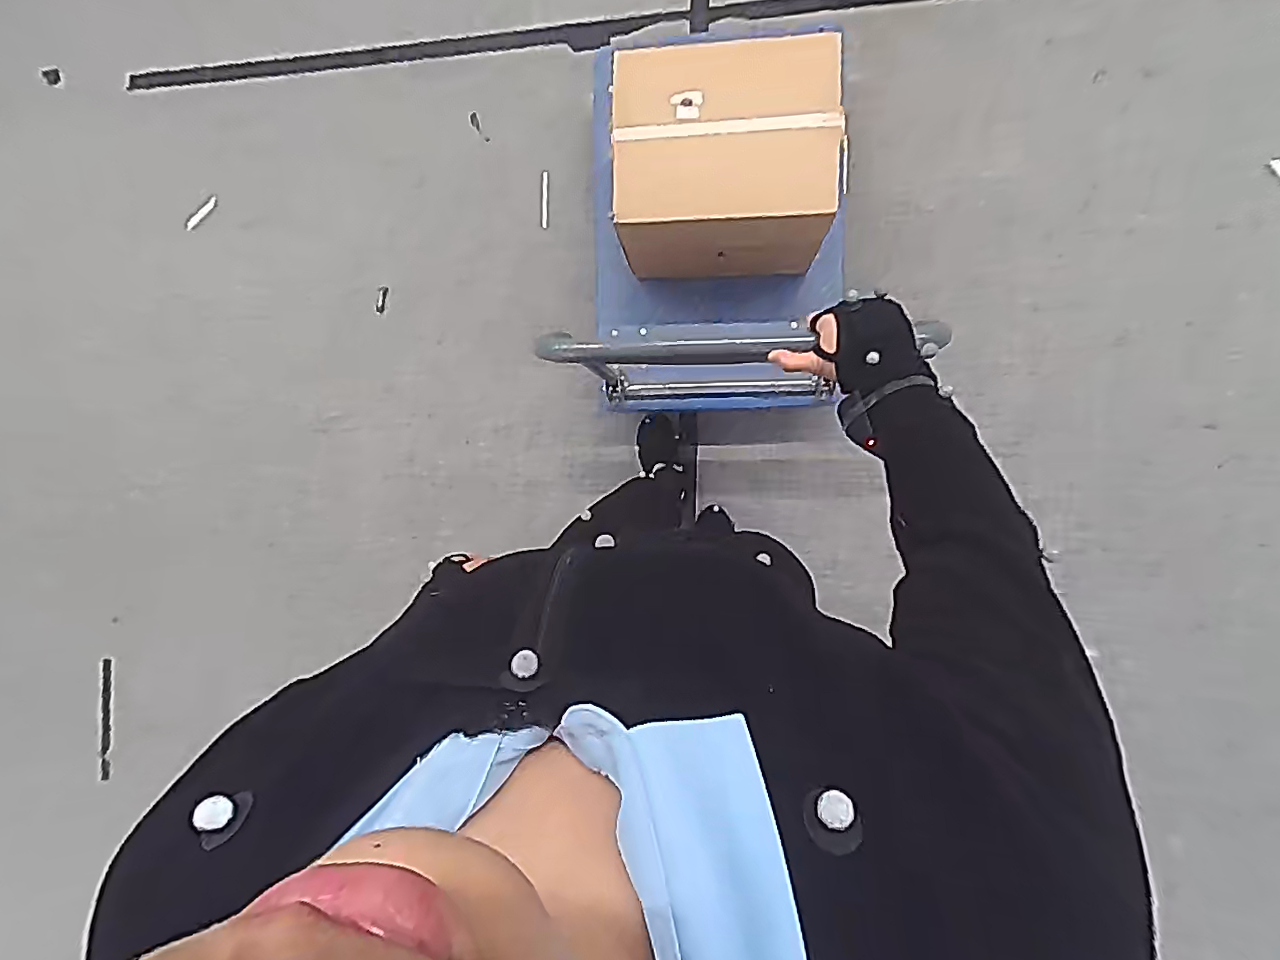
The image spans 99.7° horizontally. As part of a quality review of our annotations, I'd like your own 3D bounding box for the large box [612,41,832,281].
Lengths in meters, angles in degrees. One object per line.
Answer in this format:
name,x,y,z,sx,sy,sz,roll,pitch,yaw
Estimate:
large box,0.169,-0.631,1.138,0.408,0.320,0.320,0,91,8
